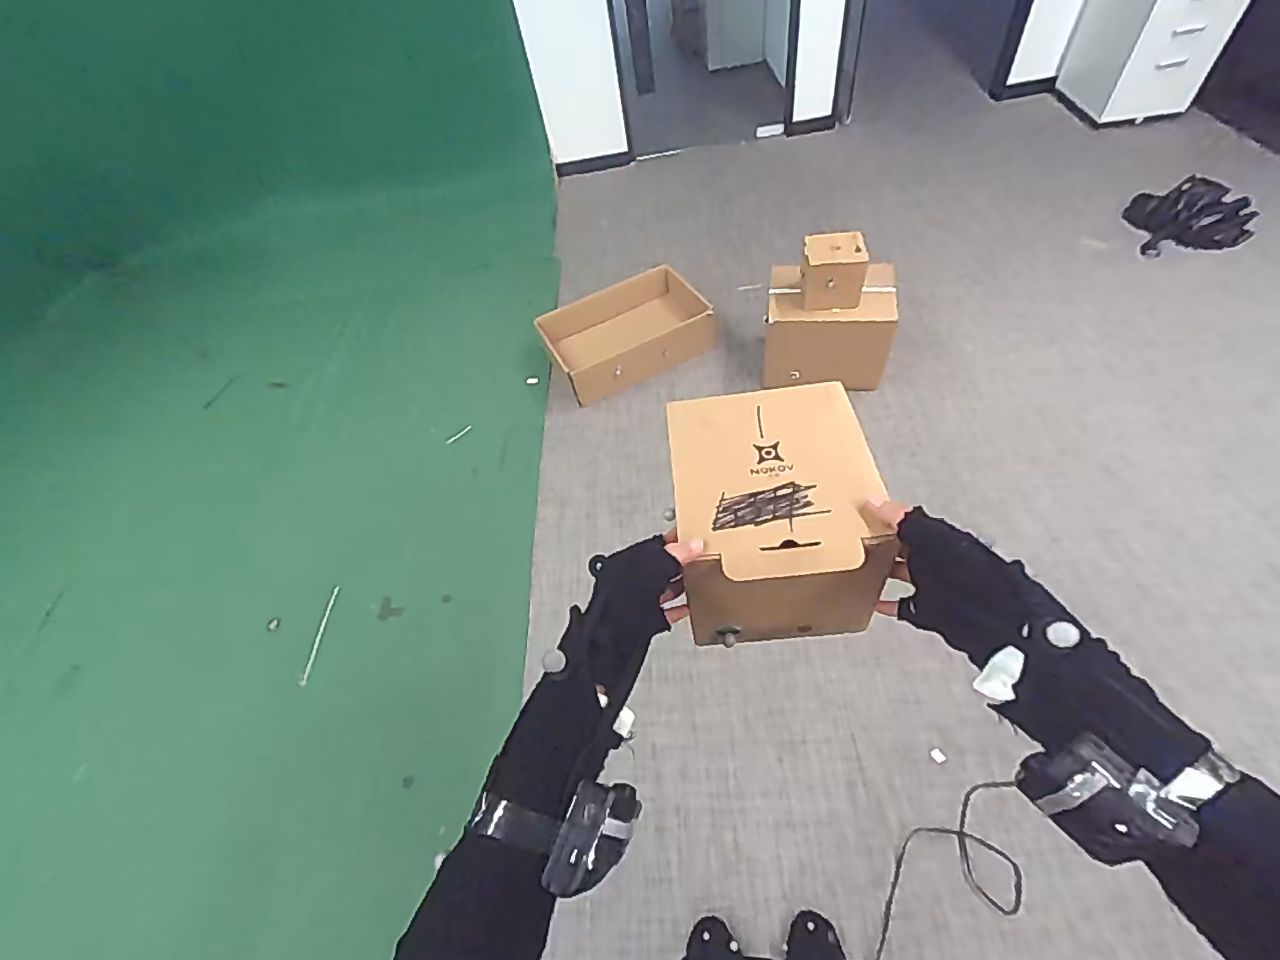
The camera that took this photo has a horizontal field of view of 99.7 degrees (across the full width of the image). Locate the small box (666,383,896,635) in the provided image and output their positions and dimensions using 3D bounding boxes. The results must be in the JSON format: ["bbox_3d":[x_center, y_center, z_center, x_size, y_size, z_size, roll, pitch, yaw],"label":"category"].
[{"bbox_3d":[0.119,0.036,0.515,0.168,0.176,0.179,-7,50,5],"label":"small box"}]

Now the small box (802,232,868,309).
[{"bbox_3d":[0.617,-0.668,1.738,0.179,0.176,0.168,-1,54,10],"label":"small box"}]
